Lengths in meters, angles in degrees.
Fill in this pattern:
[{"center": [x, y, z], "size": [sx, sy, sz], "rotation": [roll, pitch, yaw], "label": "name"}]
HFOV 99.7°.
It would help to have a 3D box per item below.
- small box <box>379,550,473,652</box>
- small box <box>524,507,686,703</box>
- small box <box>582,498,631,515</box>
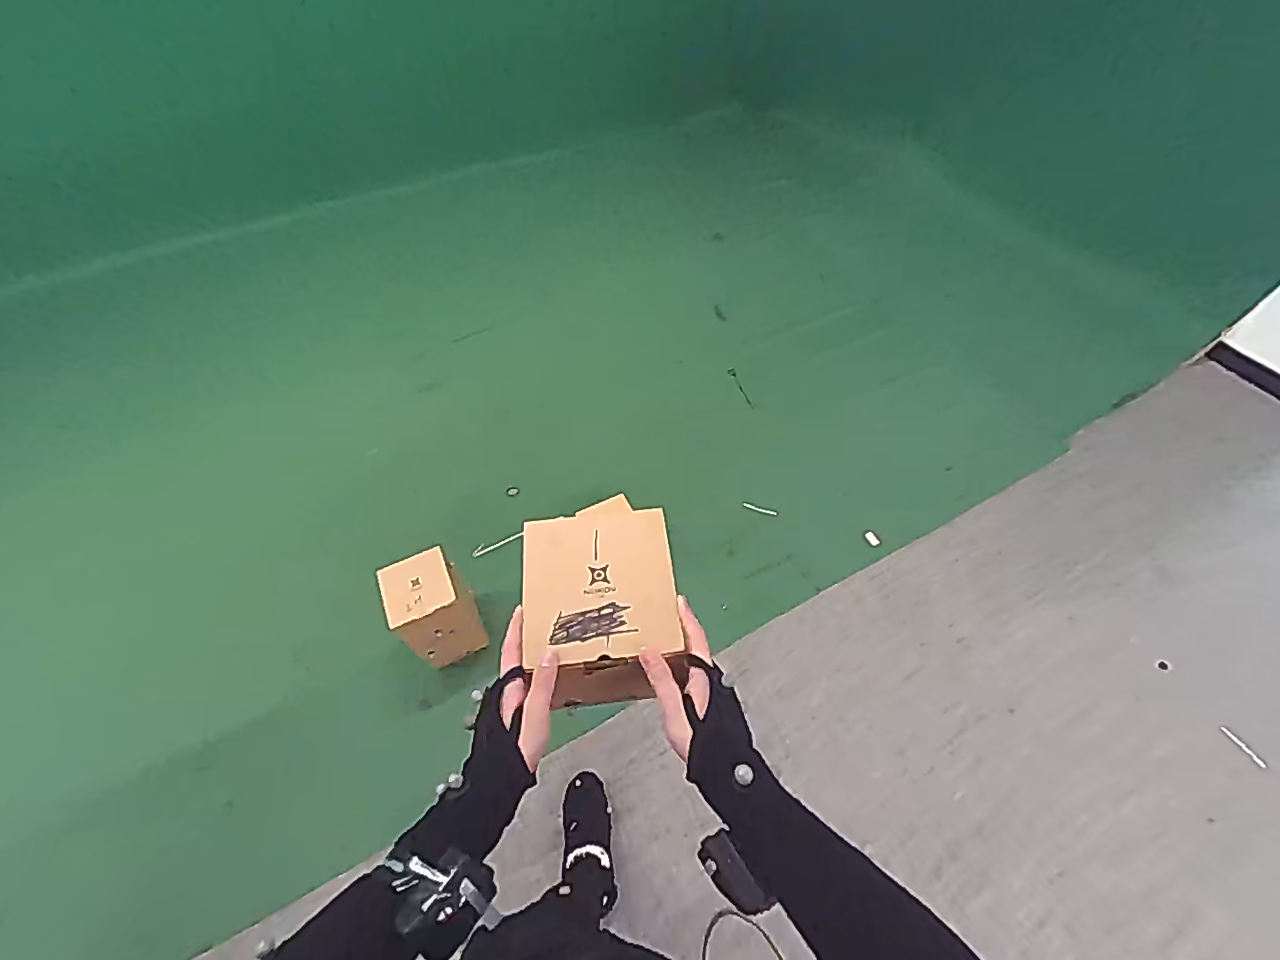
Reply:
[{"center": [-0.554, 0.318, 1.410], "size": [0.168, 0.176, 0.179], "rotation": [-22, 57, -14], "label": "small box"}, {"center": [-0.040, 0.155, 0.645], "size": [0.168, 0.176, 0.179], "rotation": [-6, 53, -3], "label": "small box"}, {"center": [-0.085, 0.194, 1.699], "size": [0.168, 0.176, 0.179], "rotation": [-23, 58, -15], "label": "small box"}]
